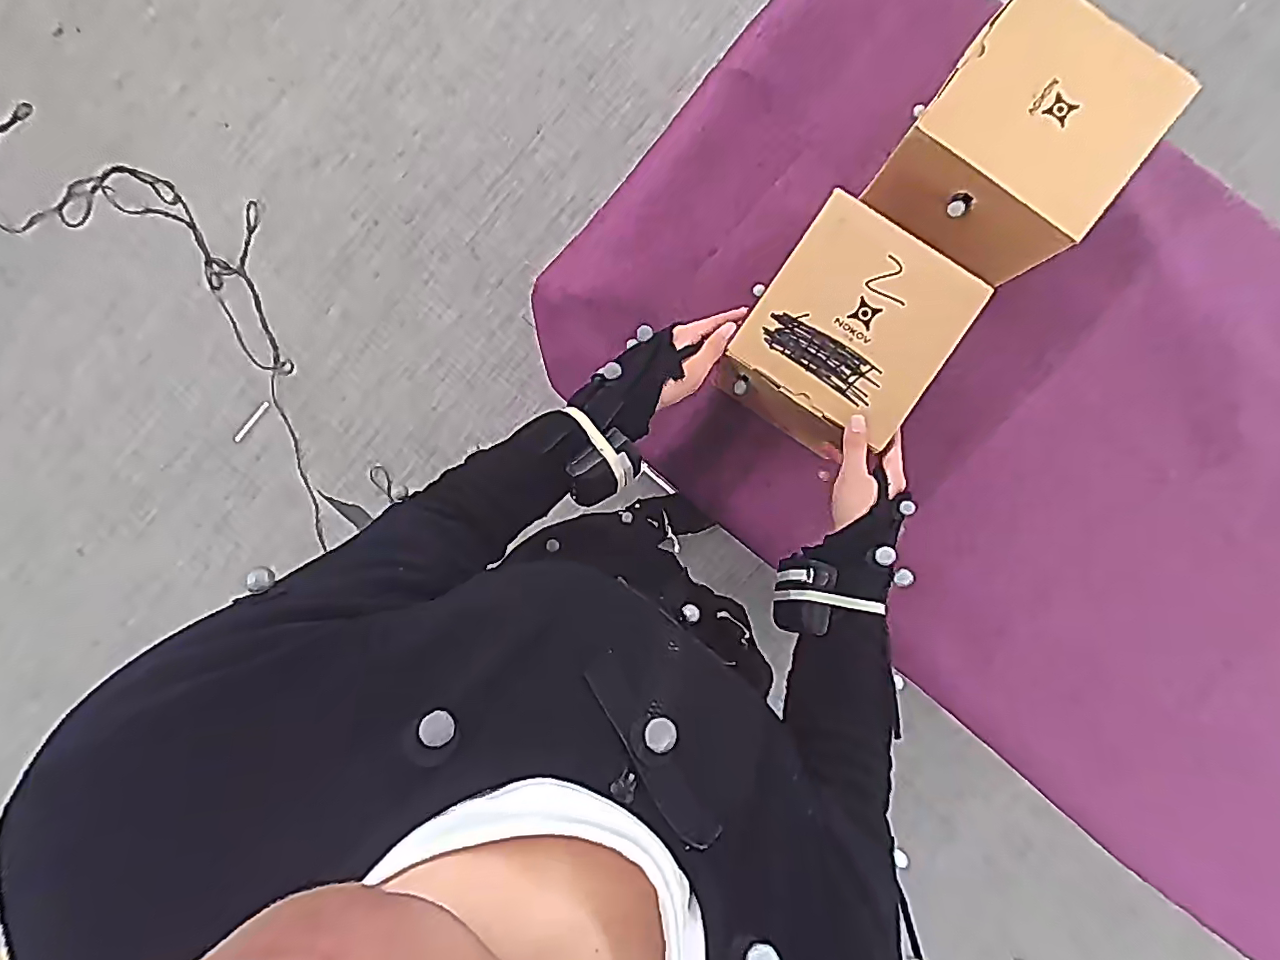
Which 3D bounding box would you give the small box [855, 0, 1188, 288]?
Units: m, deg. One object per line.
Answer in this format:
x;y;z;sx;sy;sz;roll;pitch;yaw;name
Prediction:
0.358;-0.321;0.548;0.179;0.176;0.168;37;93;2;small box
